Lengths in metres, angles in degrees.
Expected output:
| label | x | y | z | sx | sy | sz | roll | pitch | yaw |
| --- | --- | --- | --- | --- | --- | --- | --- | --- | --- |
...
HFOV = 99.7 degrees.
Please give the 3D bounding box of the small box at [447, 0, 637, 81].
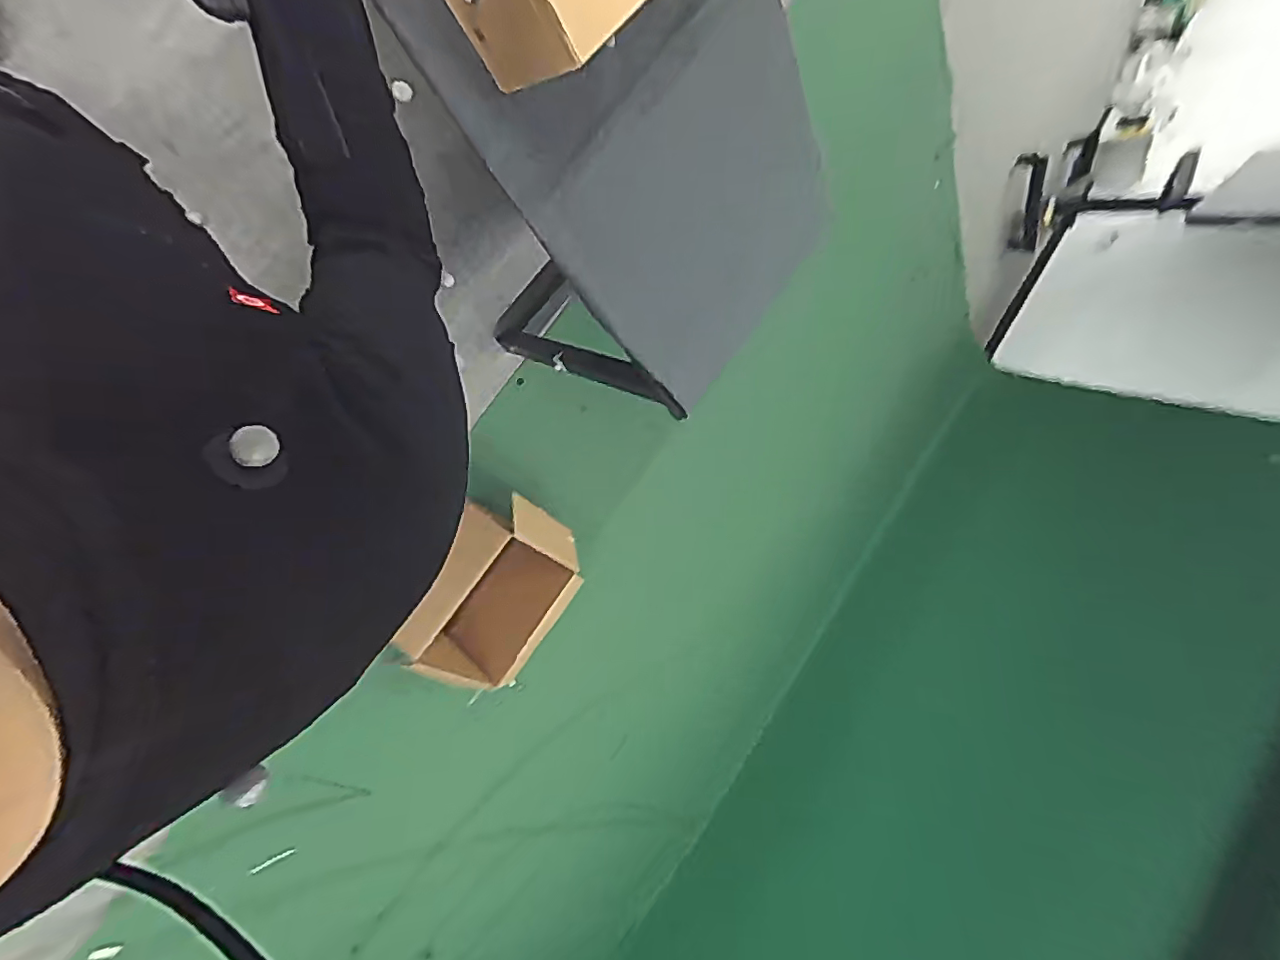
| label | x | y | z | sx | sy | sz | roll | pitch | yaw |
| --- | --- | --- | --- | --- | --- | --- | --- | --- | --- |
| small box | -0.108 | -0.577 | 0.584 | 0.179 | 0.176 | 0.168 | -53 | 137 | -12 |
